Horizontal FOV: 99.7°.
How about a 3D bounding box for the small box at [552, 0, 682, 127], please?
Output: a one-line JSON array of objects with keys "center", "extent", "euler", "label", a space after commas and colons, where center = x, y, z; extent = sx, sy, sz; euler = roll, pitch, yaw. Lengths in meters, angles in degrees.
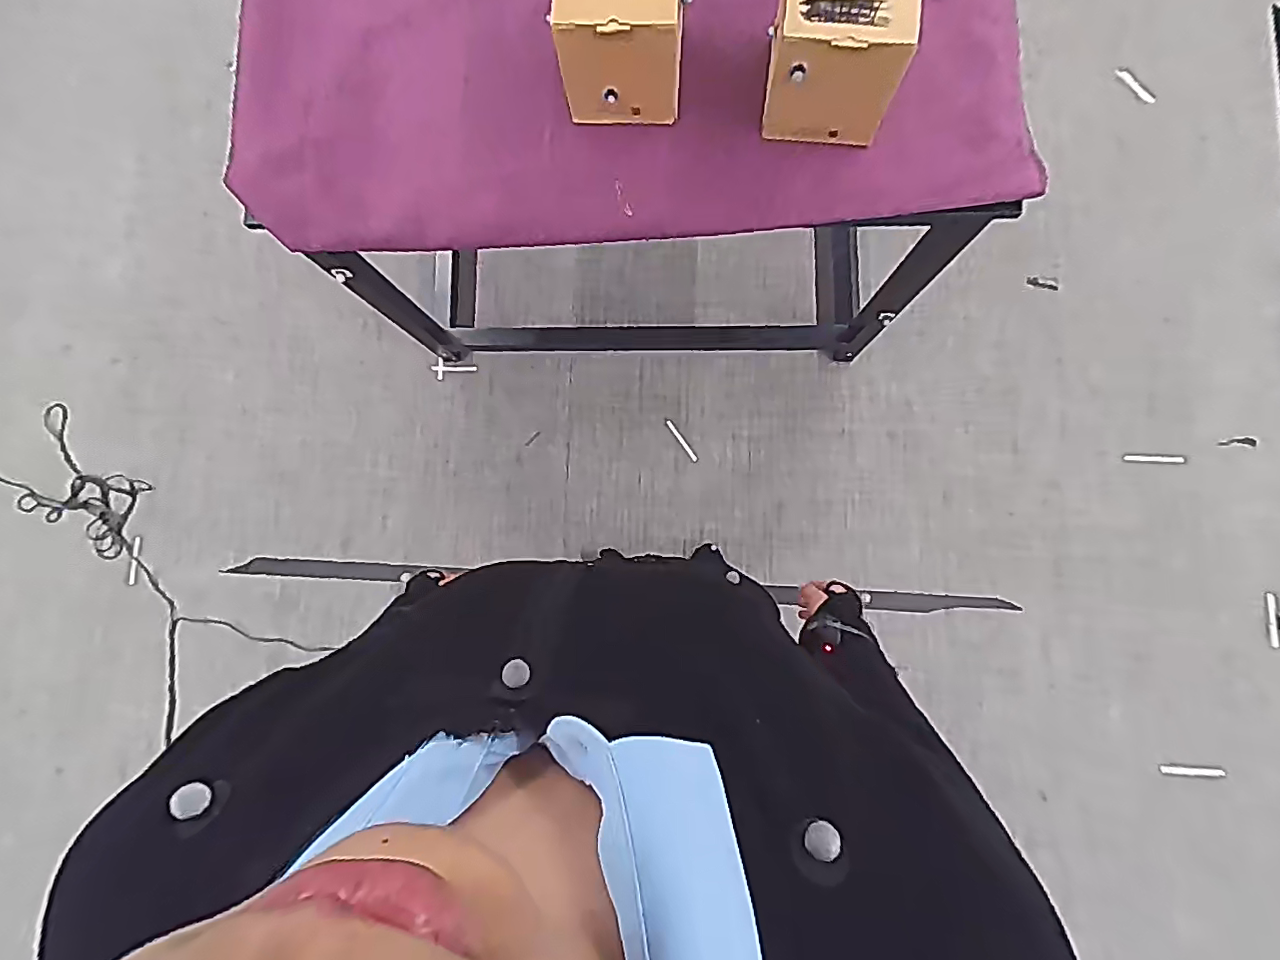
[{"center": [-0.024, -0.654, 0.779], "extent": [0.168, 0.176, 0.179], "euler": [3, 84, 3], "label": "small box"}]
